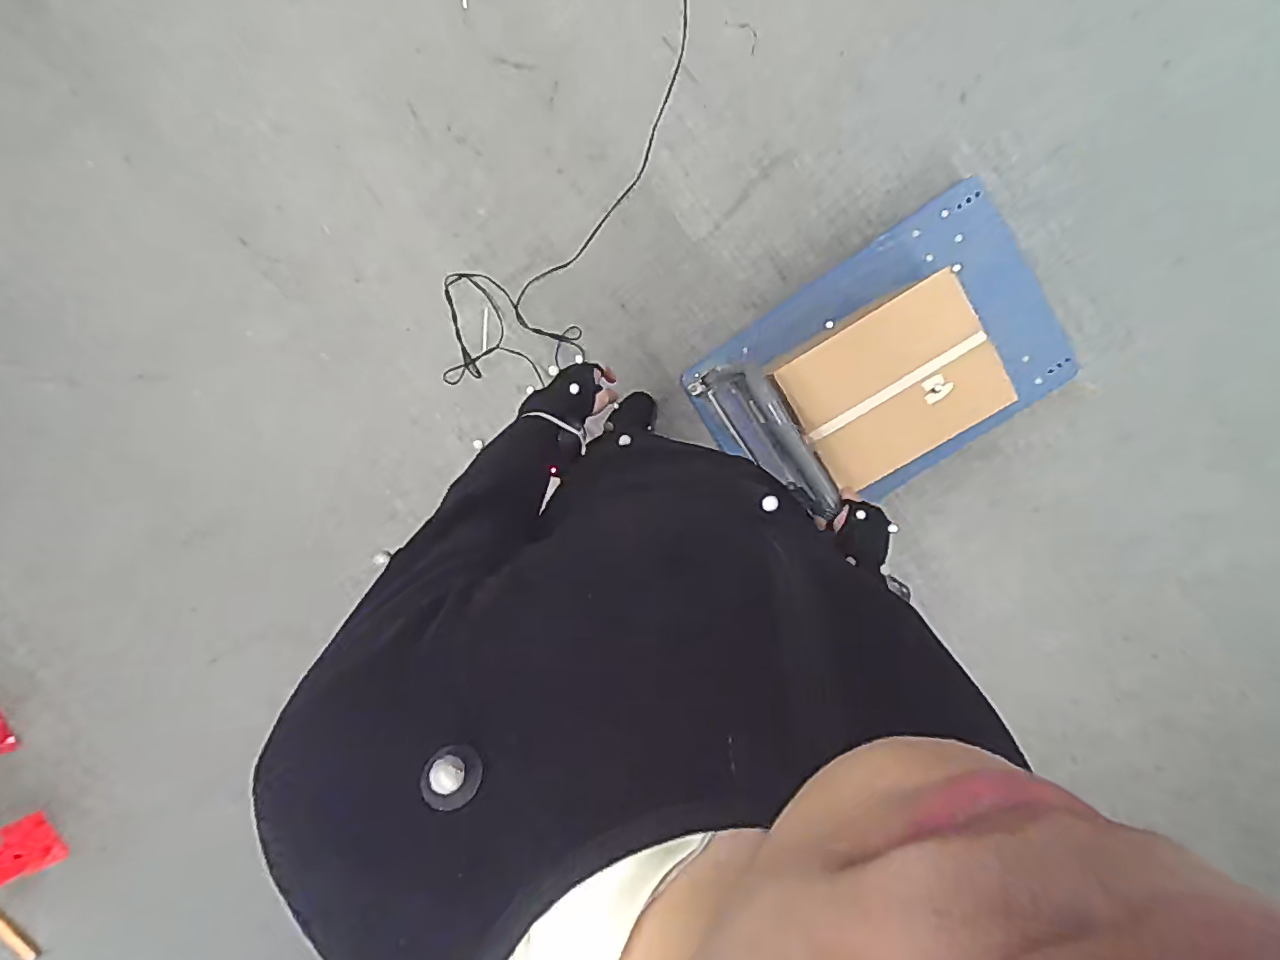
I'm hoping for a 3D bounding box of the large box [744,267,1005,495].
[{"bbox_3d":[0.512,-0.218,1.264,0.408,0.320,0.320,-31,98,6],"label":"large box"}]
